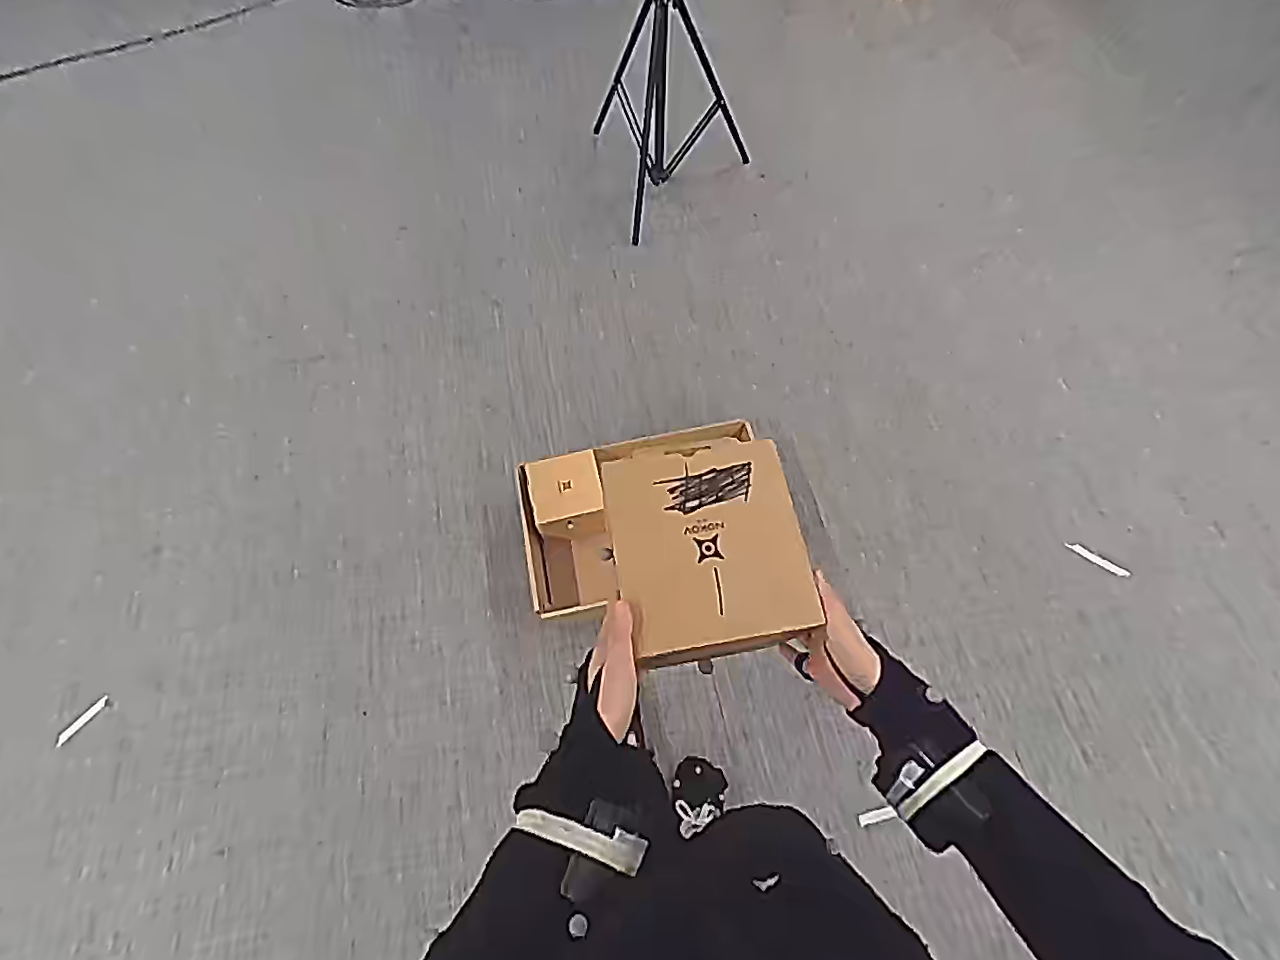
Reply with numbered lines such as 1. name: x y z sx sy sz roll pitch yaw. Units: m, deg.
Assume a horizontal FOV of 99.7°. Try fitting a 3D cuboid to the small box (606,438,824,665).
1. small box: 0.056 0.079 0.543 0.168 0.176 0.179 -8 68 -5
